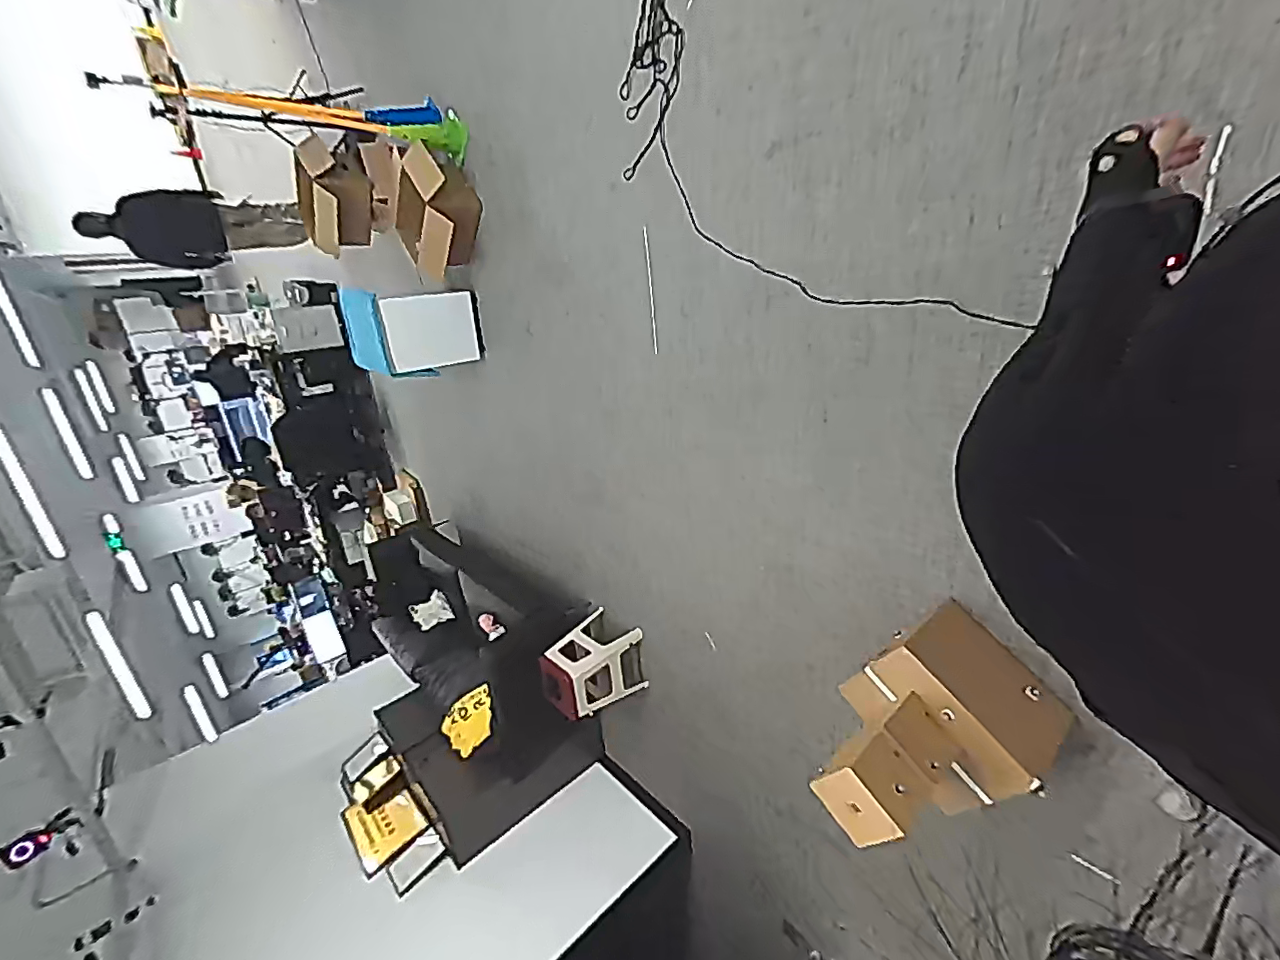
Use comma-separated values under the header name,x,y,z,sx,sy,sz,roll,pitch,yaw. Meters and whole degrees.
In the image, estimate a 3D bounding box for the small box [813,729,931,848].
name,x,y,z,sx,sy,sz,roll,pitch,yaw
small box,0.555,0.727,1.283,0.168,0.176,0.179,50,141,23
